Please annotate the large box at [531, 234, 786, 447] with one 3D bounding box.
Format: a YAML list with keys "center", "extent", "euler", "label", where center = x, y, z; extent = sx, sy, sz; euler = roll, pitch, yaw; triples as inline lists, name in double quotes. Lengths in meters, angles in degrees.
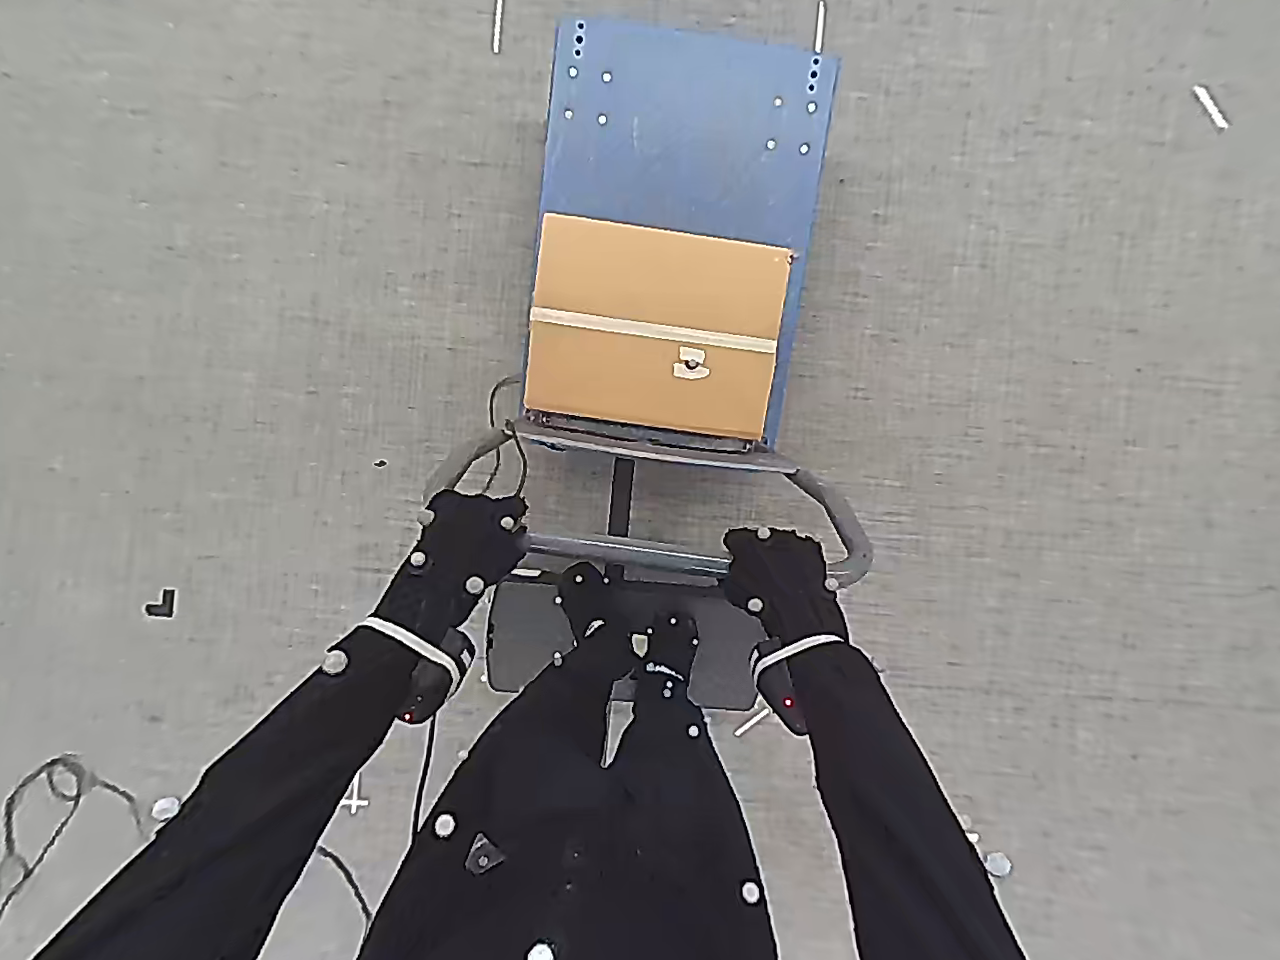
- center: [0.023, -0.248, 1.055]
  extent: [0.408, 0.320, 0.320]
  euler: [8, 98, -2]
  label: "large box"
